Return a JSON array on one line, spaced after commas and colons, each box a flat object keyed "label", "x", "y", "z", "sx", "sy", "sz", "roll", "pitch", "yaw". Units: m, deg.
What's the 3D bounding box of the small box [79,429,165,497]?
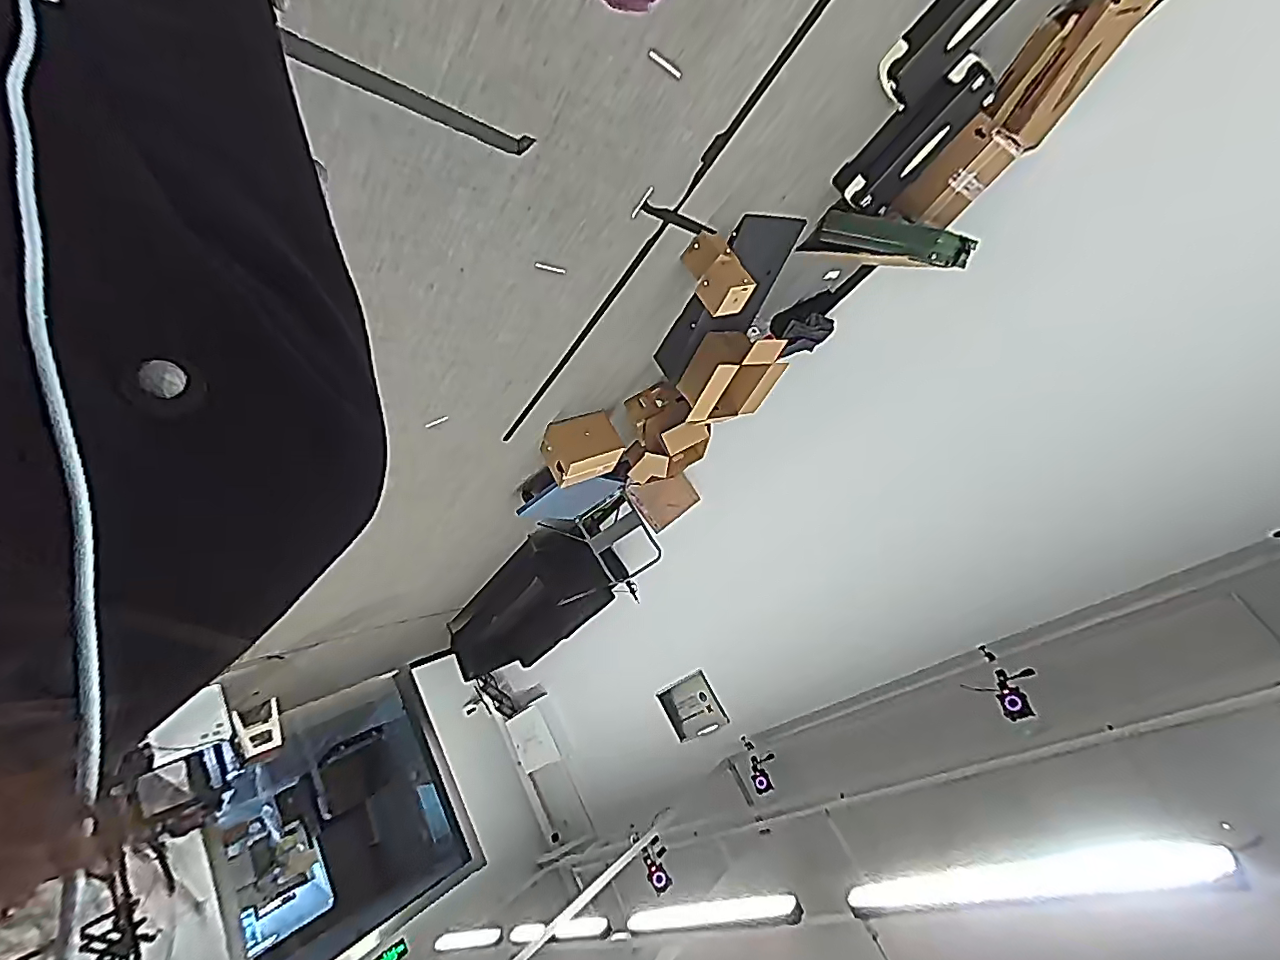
[{"label": "small box", "x": -1.772, "y": -0.062, "z": 1.845, "sx": 0.168, "sy": 0.176, "sz": 0.179, "roll": -41, "pitch": 162, "yaw": 29}]
